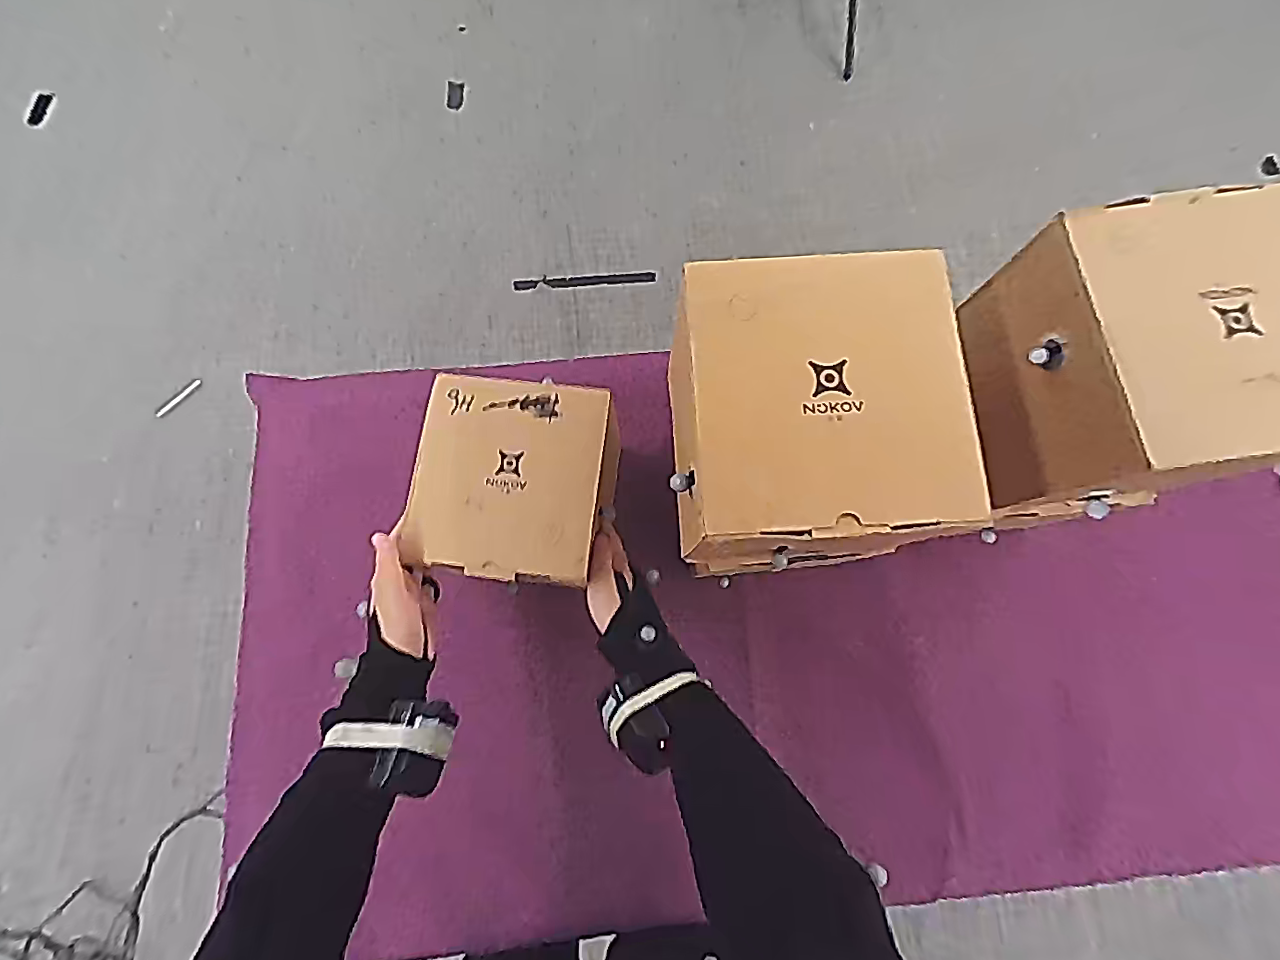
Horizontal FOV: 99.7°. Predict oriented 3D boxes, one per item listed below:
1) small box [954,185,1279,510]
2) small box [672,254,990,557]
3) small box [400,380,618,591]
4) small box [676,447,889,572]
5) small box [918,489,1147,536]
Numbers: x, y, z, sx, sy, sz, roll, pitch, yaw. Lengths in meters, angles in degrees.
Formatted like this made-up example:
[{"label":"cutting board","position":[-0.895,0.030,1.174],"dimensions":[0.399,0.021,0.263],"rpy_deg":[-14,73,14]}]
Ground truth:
[{"label":"small box","position":[0.361,-0.084,0.413],"dimensions":[0.168,0.176,0.179],"rpy_deg":[-8,78,-1]},{"label":"small box","position":[0.114,-0.040,0.404],"dimensions":[0.168,0.176,0.179],"rpy_deg":[-3,78,-1]},{"label":"small box","position":[-0.115,0.018,0.555],"dimensions":[0.168,0.176,0.179],"rpy_deg":[7,77,2]},{"label":"small box","position":[0.130,0.001,0.562],"dimensions":[0.168,0.176,0.179],"rpy_deg":[-6,77,-1]},{"label":"small box","position":[0.358,-0.042,0.571],"dimensions":[0.168,0.176,0.179],"rpy_deg":[-6,78,0]}]
